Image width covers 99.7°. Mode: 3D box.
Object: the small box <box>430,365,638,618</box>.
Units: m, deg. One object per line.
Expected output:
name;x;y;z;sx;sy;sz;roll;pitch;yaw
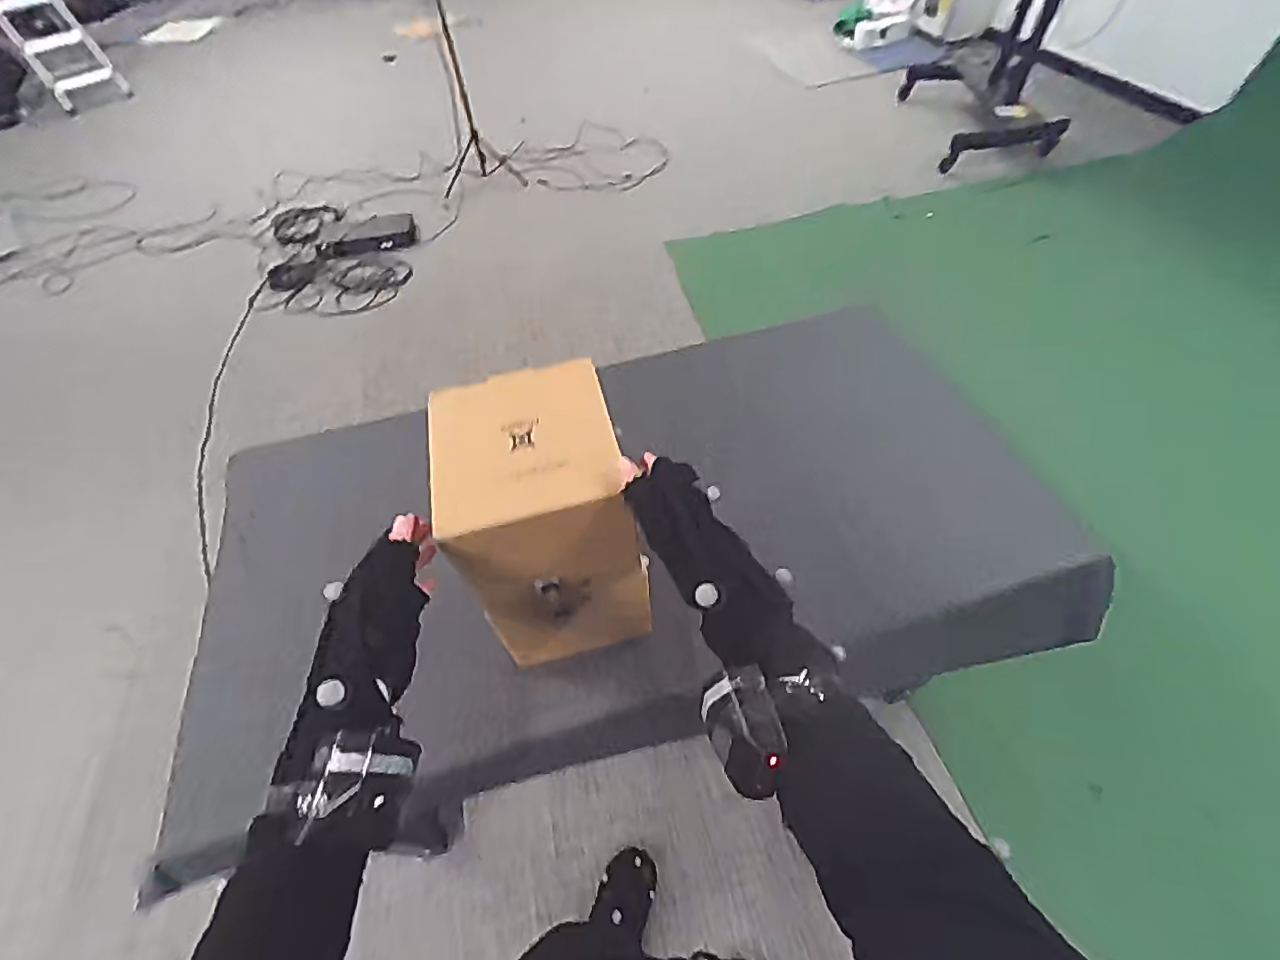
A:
small box;-0.103;0.014;0.555;0.168;0.176;0.179;-14;54;-6

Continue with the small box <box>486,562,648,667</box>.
small box;-0.094;0.121;0.698;0.179;0.176;0.168;-13;54;-7
